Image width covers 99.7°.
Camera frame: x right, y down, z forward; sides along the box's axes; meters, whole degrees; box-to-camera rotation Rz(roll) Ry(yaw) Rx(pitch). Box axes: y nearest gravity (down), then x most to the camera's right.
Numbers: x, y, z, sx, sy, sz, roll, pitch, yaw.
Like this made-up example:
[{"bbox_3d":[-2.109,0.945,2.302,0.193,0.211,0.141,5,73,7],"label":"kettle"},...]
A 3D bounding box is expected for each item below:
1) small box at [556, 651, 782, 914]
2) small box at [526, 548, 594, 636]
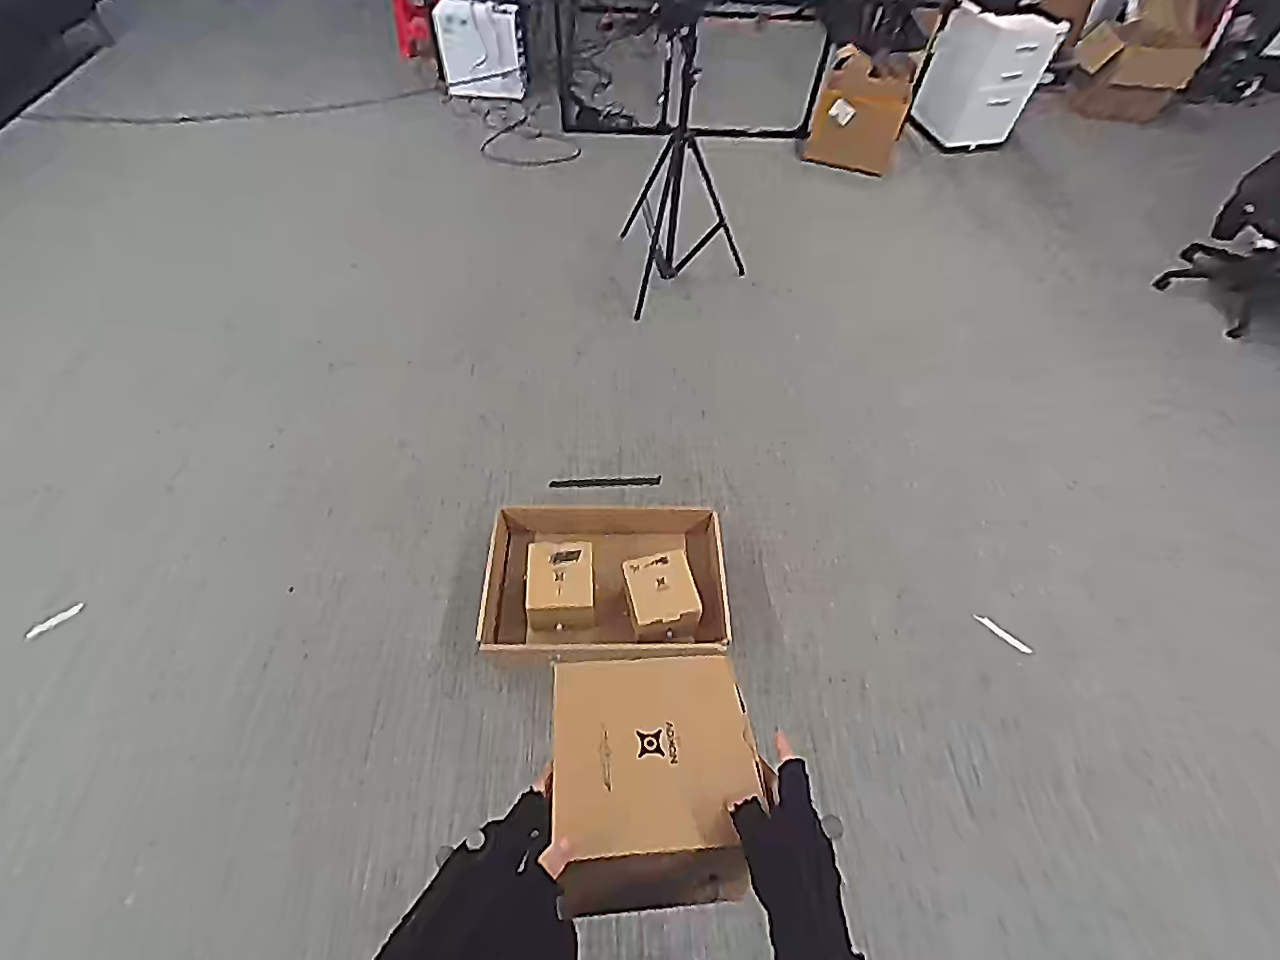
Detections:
[{"bbox_3d":[0.012,0.285,0.515,0.179,0.176,0.168,-2,39,-6],"label":"small box"},{"bbox_3d":[-0.206,0.295,1.422,0.168,0.176,0.179,-1,55,-5],"label":"small box"}]
